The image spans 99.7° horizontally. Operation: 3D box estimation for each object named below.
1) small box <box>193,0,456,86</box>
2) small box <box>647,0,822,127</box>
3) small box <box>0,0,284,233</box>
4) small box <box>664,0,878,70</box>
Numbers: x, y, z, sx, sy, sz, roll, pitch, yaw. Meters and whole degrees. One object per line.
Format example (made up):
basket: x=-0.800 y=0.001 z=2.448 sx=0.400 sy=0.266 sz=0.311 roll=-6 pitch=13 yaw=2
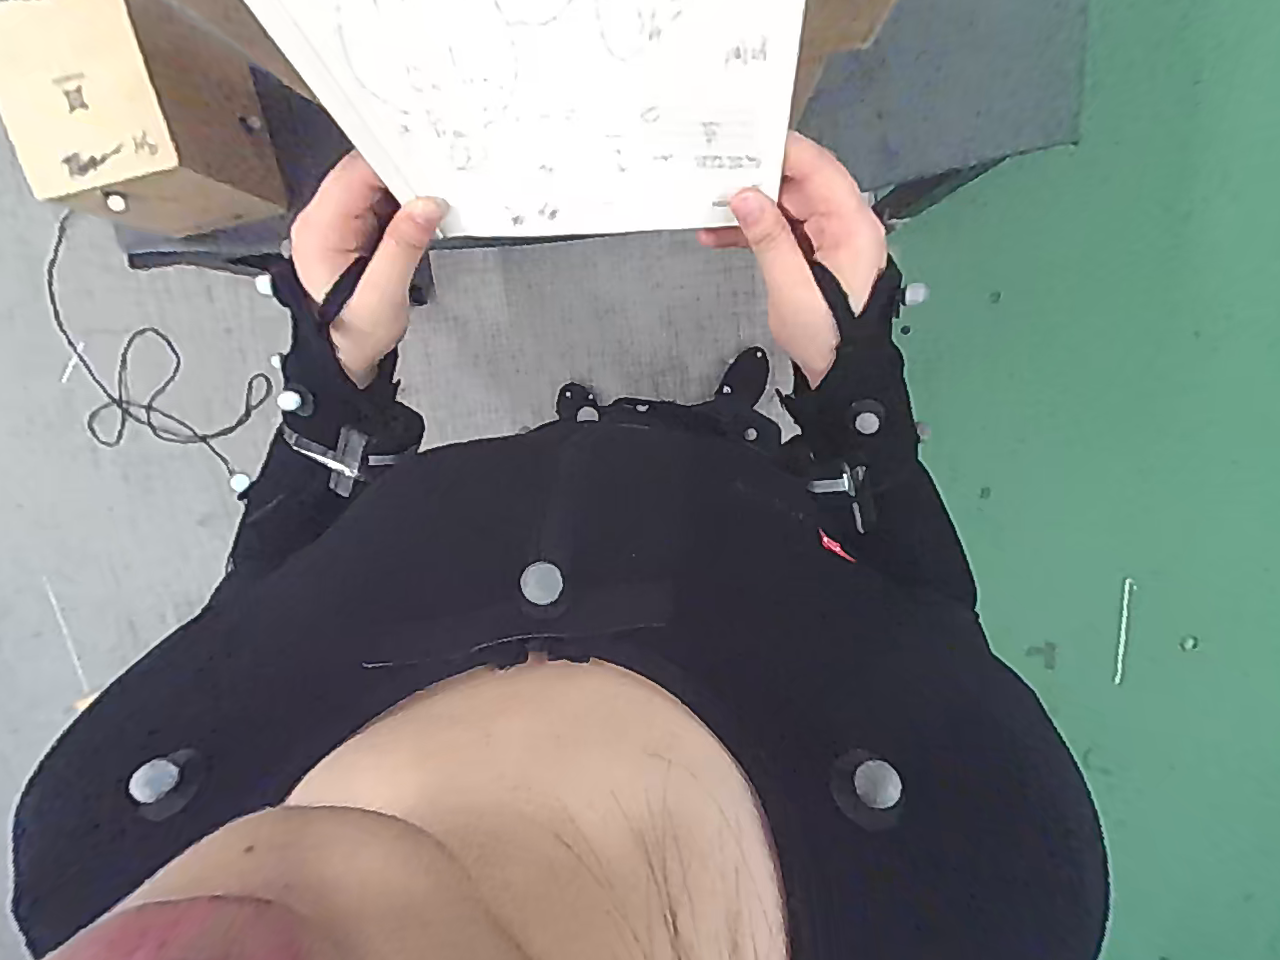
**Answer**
small box: x=-0.277 y=-0.455 z=0.418 sx=0.179 sy=0.176 sz=0.168 roll=-18 pitch=101 yaw=7
small box: x=0.105 y=-0.500 z=0.549 sx=0.168 sy=0.176 sz=0.179 roll=11 pitch=103 yaw=2
small box: x=-0.555 y=-0.405 z=0.614 sx=0.168 sy=0.176 sz=0.179 roll=-10 pitch=101 yaw=5
small box: x=0.100 y=-0.443 z=0.395 sx=0.179 sy=0.176 sz=0.168 roll=-5 pitch=101 yaw=6
